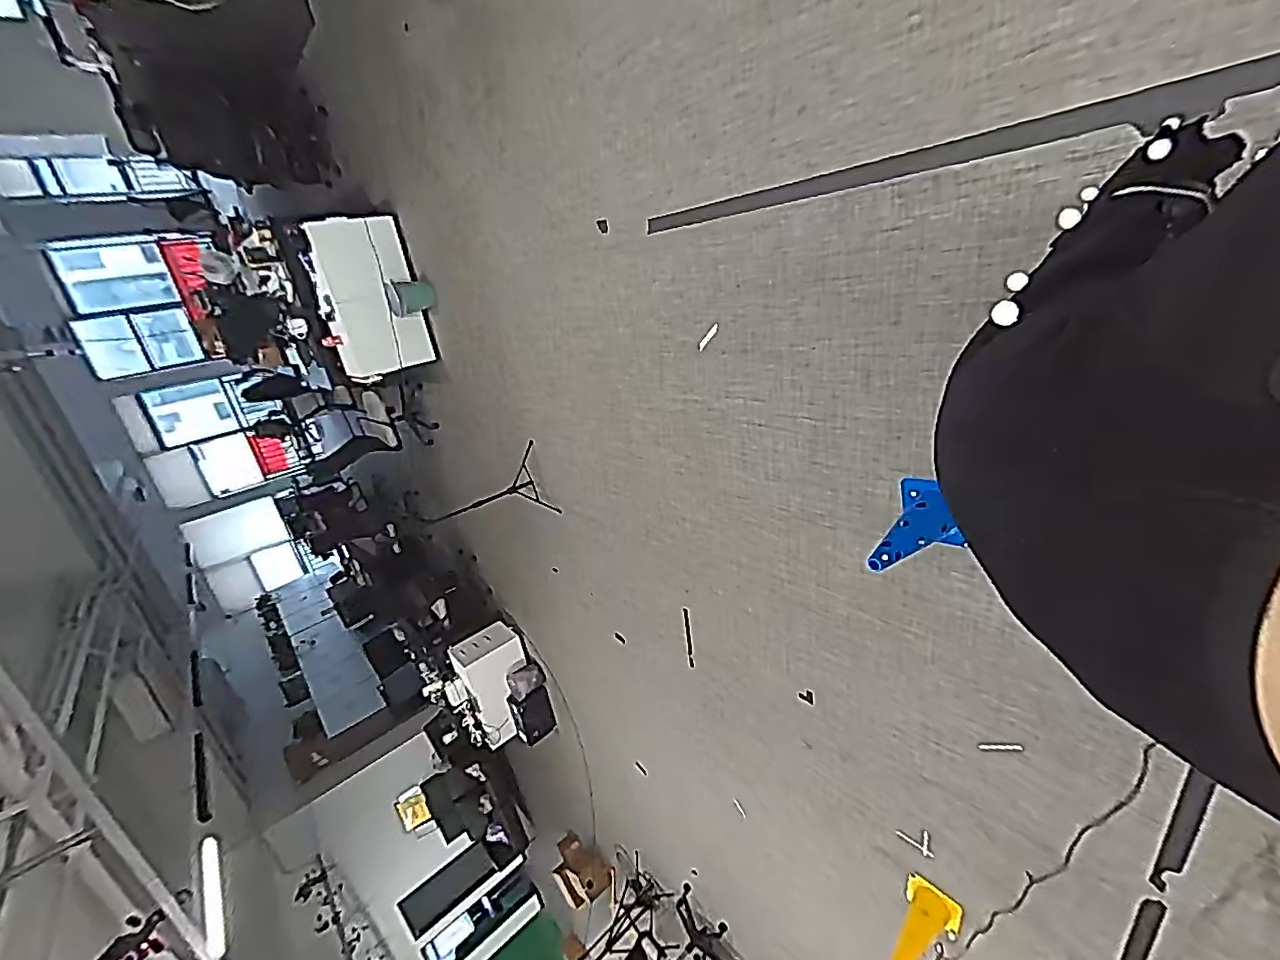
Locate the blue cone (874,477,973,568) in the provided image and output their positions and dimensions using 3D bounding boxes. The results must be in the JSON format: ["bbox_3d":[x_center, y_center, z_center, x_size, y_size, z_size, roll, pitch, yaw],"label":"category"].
[{"bbox_3d":[0.738,0.141,1.475,0.192,0.380,0.193,11,119,50],"label":"blue cone"}]
